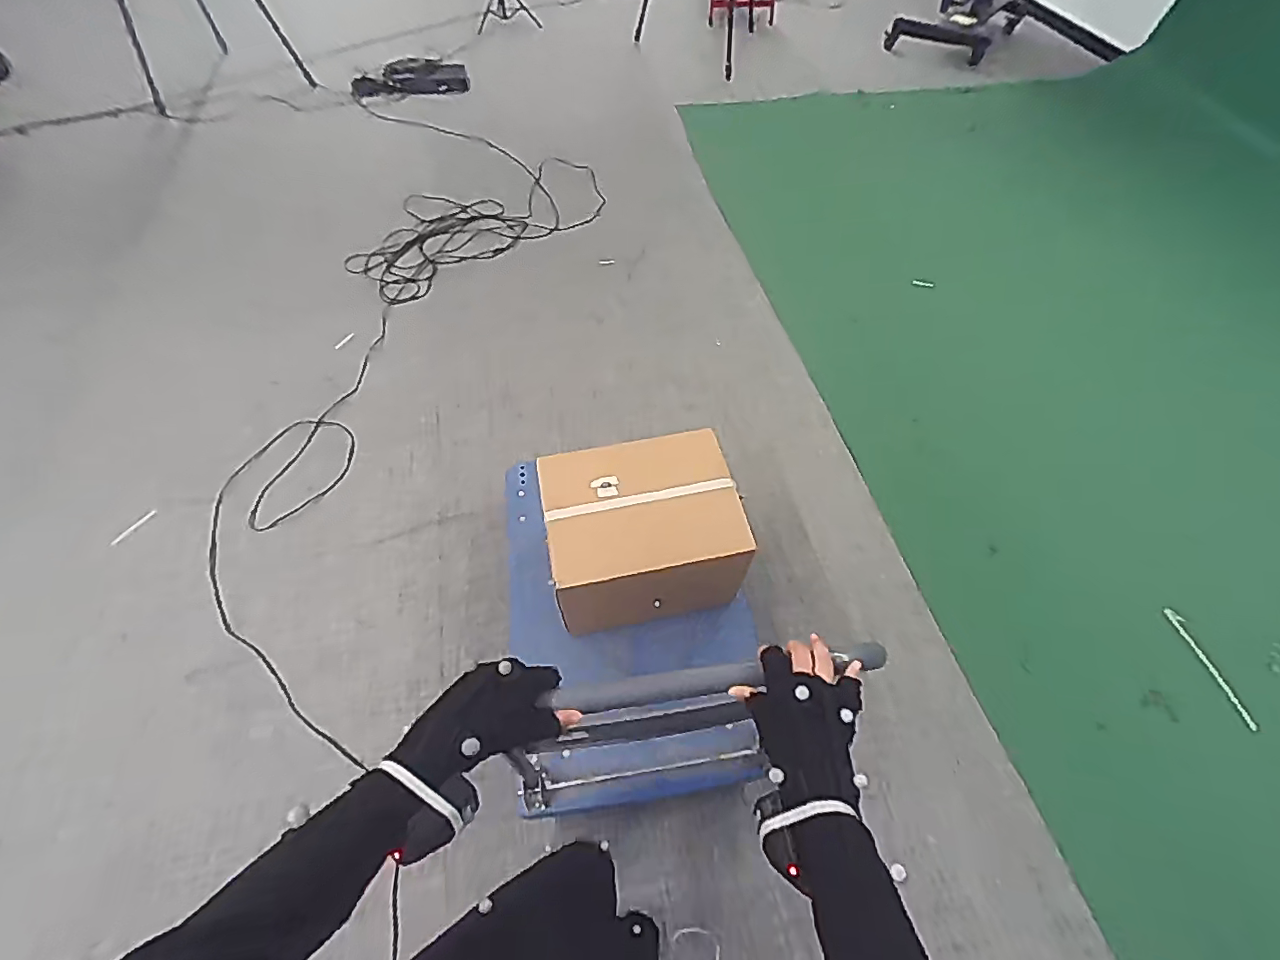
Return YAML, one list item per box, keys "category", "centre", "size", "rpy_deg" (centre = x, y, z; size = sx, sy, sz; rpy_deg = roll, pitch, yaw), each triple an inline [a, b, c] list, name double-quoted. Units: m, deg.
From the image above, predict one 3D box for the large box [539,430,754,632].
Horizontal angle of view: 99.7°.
- category: "large box"
  centre: [0.007, 0.127, 1.268]
  size: [0.408, 0.320, 0.320]
  rpy_deg: [-12, 58, -7]
